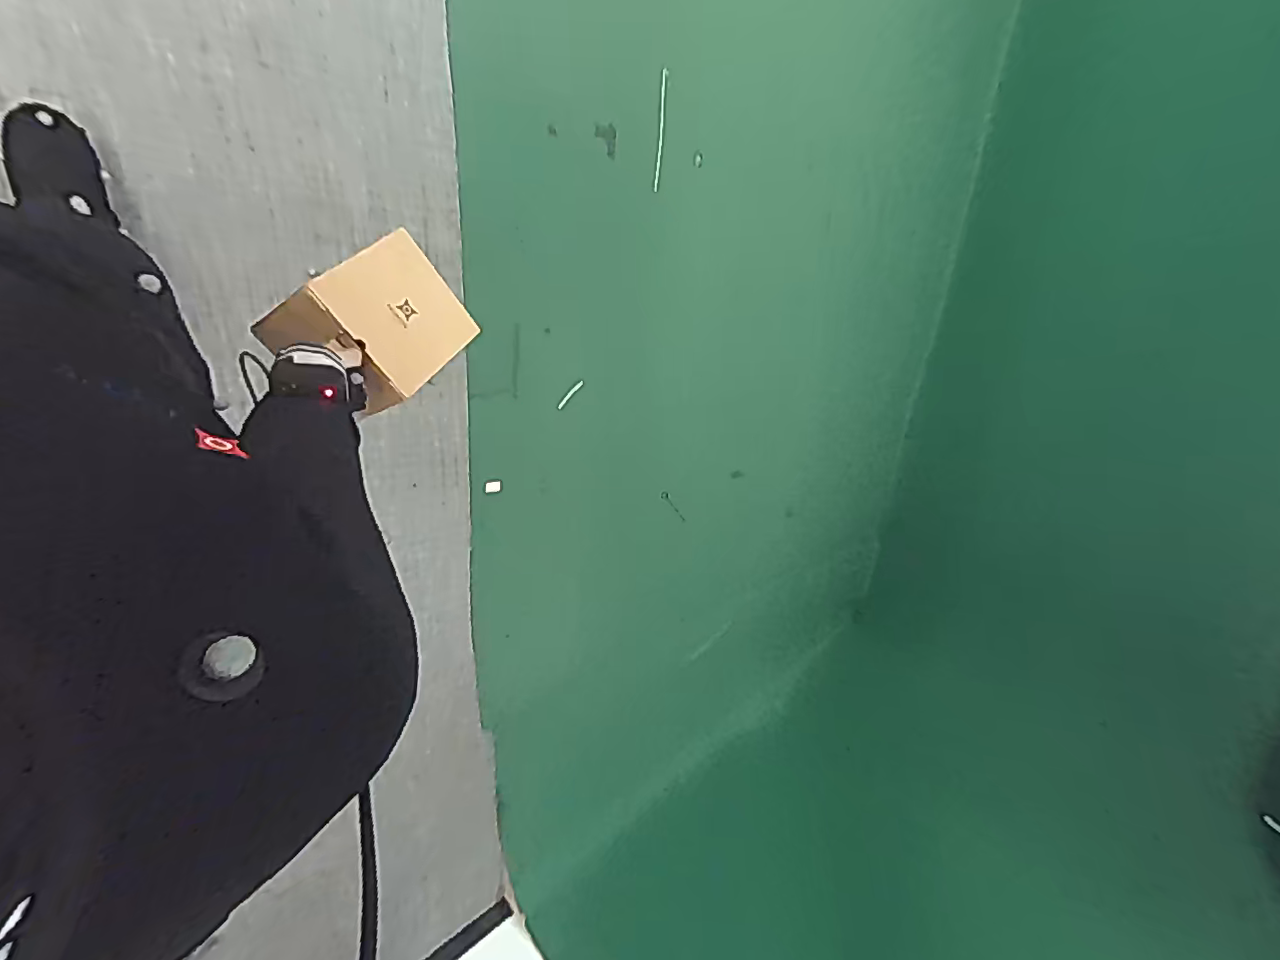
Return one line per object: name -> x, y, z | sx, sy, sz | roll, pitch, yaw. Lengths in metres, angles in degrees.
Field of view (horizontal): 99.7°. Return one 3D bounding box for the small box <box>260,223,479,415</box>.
small box -> -0.367, -0.214, 0.742 | 0.168, 0.176, 0.179 | 55, 44, -31
